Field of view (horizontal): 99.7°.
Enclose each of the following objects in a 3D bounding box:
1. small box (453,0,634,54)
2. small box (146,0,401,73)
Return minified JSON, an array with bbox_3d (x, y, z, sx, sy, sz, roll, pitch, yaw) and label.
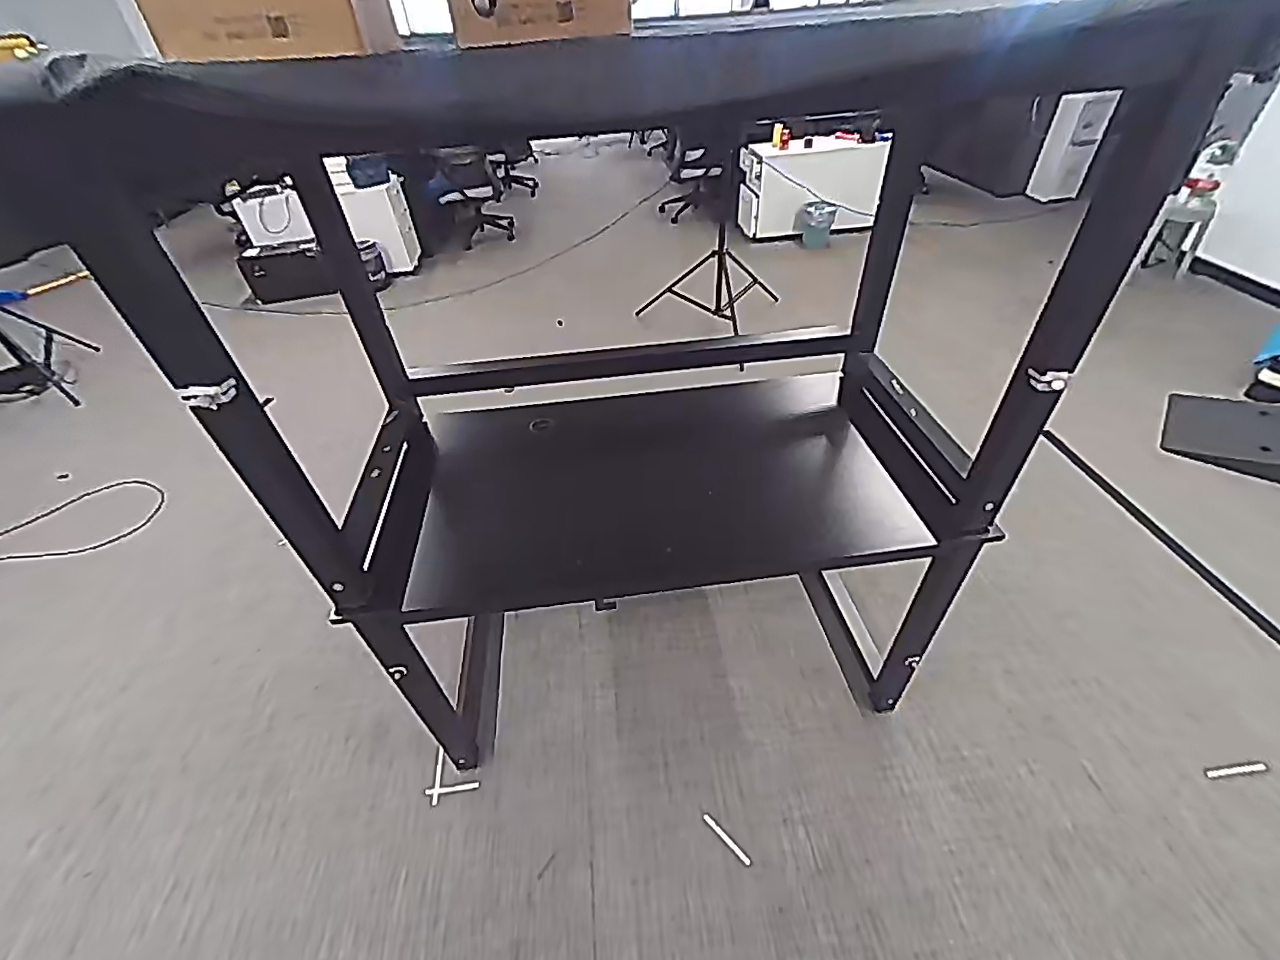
[{"bbox_3d":[-0.096,-0.519,0.512,0.168,0.176,0.179,-5,39,-1],"label":"small box"},{"bbox_3d":[-0.334,-0.473,0.480,0.168,0.176,0.179,-6,39,-4],"label":"small box"}]
